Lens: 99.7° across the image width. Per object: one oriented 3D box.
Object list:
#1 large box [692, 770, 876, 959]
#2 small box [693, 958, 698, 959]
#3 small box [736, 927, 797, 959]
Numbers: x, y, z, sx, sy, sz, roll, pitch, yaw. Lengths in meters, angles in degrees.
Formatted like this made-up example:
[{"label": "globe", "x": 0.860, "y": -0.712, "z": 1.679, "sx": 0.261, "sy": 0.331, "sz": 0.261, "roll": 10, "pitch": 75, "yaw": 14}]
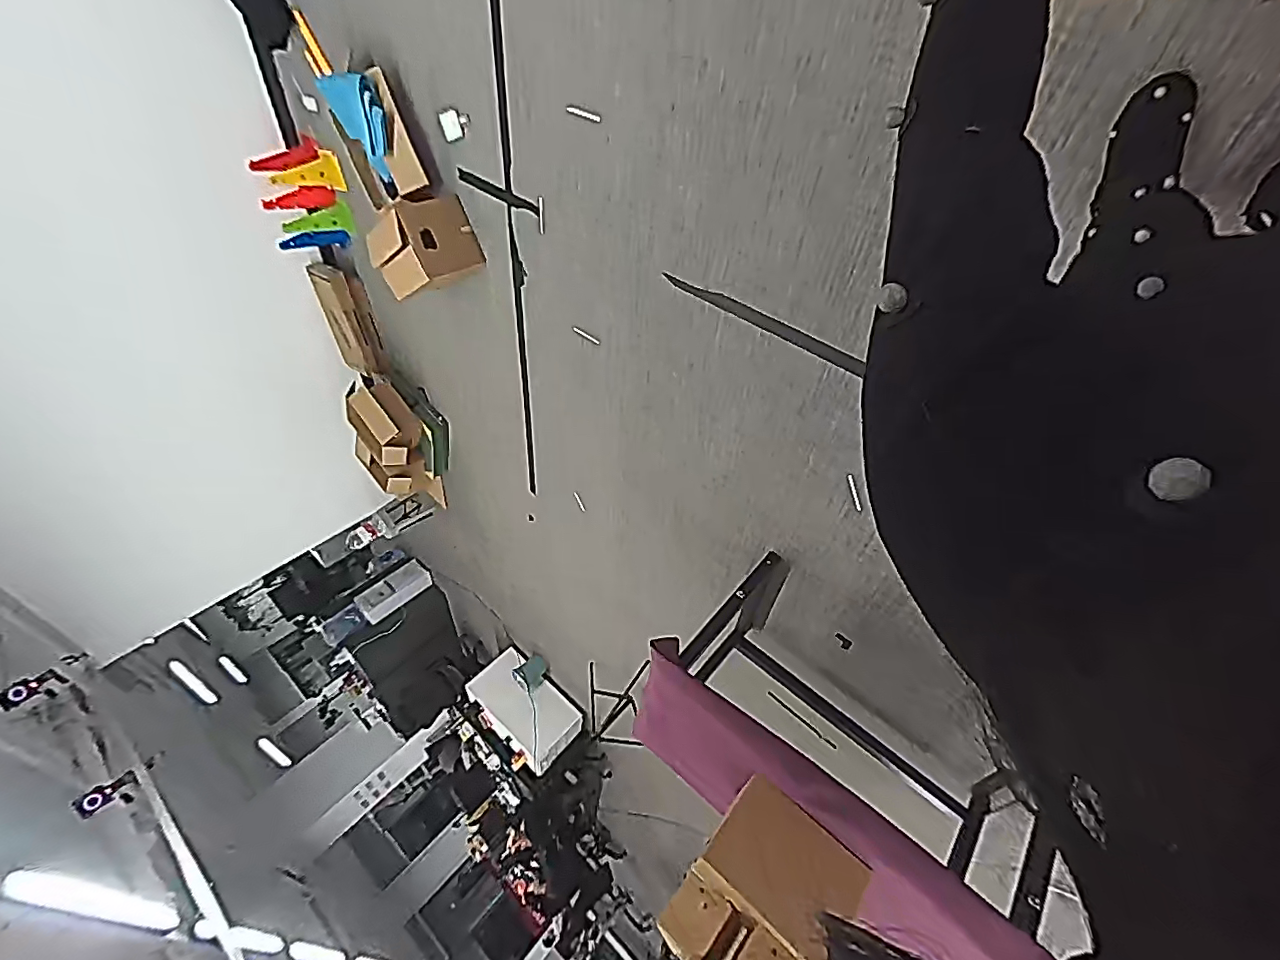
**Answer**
[{"label": "large box", "x": 0.422, "y": 1.187, "z": 1.636, "sx": 0.408, "sy": 0.320, "sz": 0.320, "roll": 35, "pitch": 140, "yaw": 26}, {"label": "small box", "x": 0.159, "y": 1.384, "z": 1.394, "sx": 0.179, "sy": 0.176, "sz": 0.168, "roll": 32, "pitch": 140, "yaw": 27}, {"label": "small box", "x": 0.337, "y": 1.339, "z": 1.438, "sx": 0.168, "sy": 0.176, "sz": 0.179, "roll": 35, "pitch": 143, "yaw": 28}]
